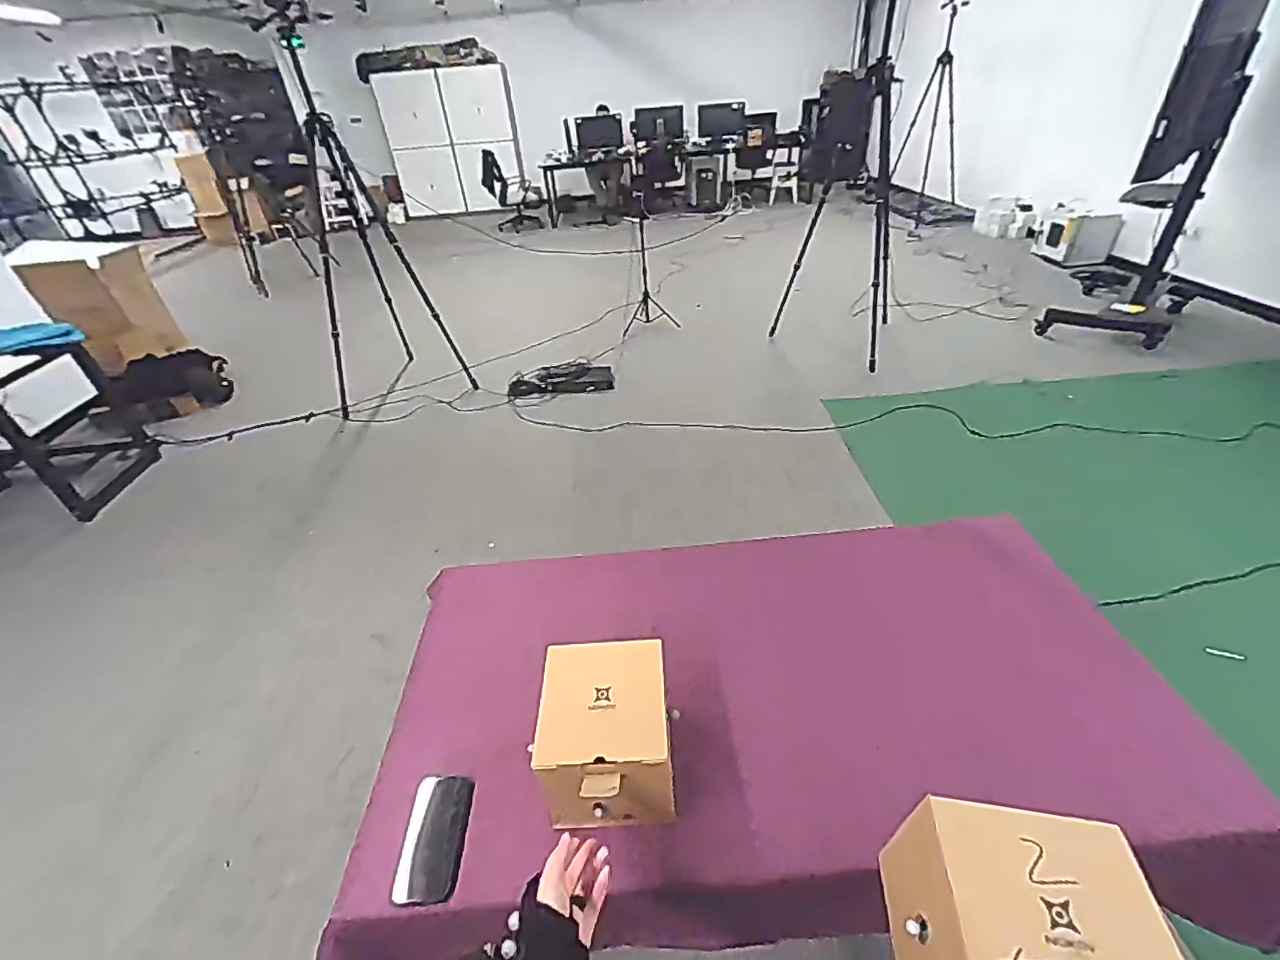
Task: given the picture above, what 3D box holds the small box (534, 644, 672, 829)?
[{"bbox_3d":[-0.041,0.352,0.750,0.168,0.176,0.179,-3,36,2],"label":"small box"}]
